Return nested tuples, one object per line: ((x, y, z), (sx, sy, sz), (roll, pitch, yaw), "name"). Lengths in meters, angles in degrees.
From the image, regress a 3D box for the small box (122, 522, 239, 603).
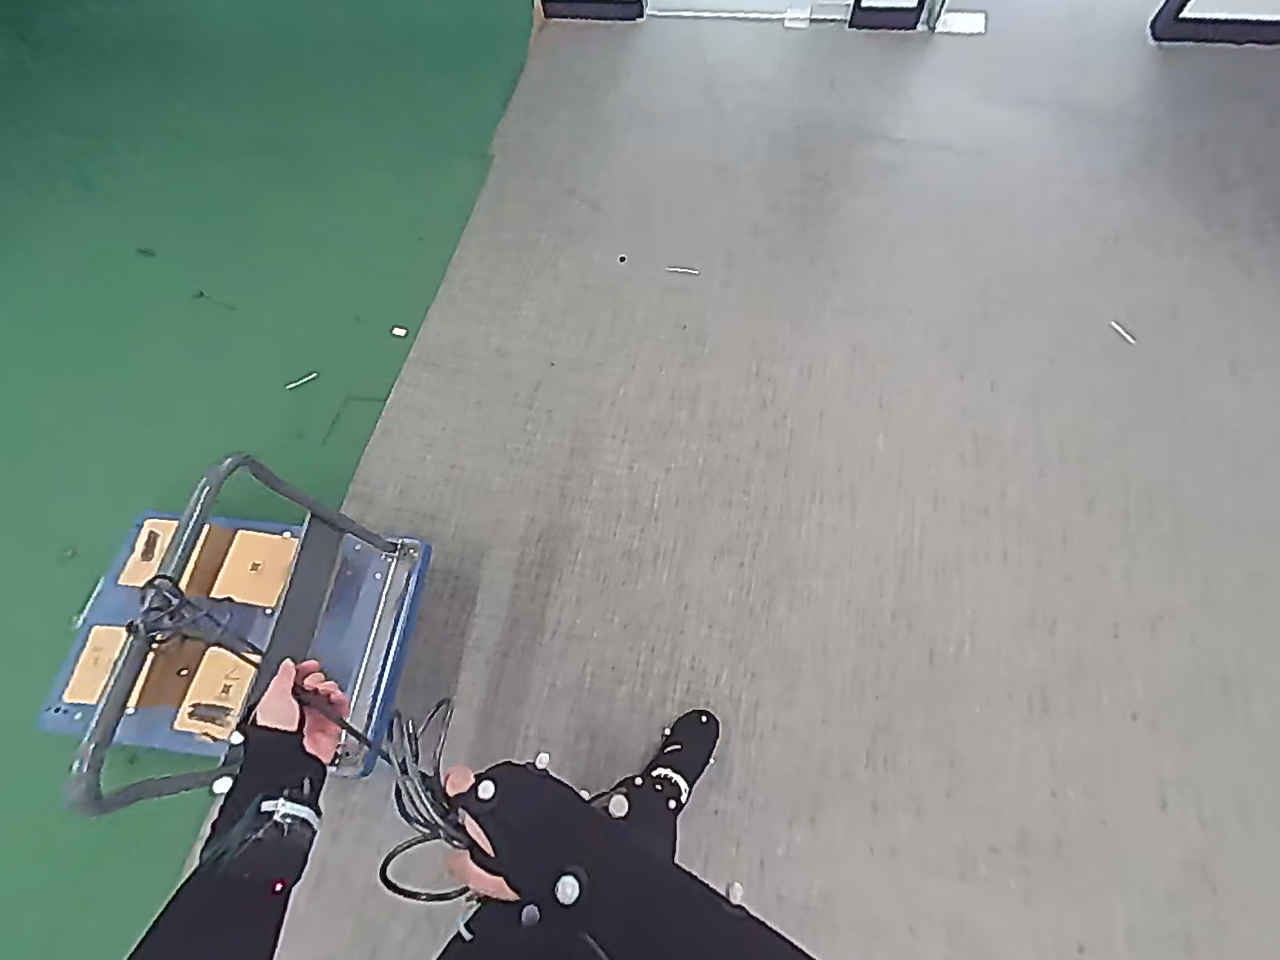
((-1.130, 0.214, 1.373), (0.179, 0.176, 0.168), (4, 69, 5), "small box")

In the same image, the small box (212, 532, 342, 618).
((-0.890, 0.241, 1.343), (0.179, 0.176, 0.168), (7, 69, 7), "small box")

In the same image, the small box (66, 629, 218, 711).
((-1.163, 0.450, 1.281), (0.179, 0.176, 0.168), (2, 68, 5), "small box")
